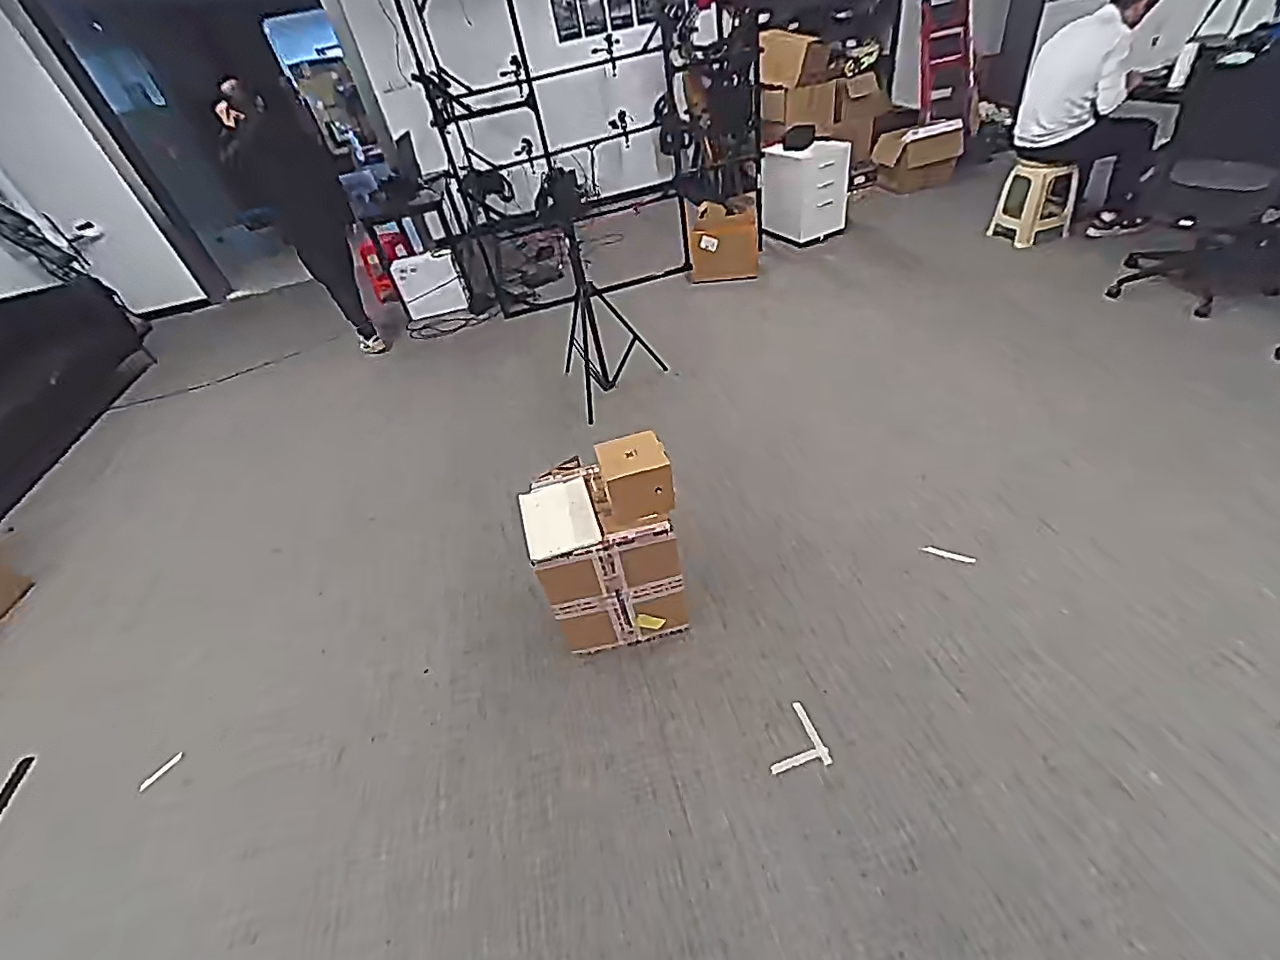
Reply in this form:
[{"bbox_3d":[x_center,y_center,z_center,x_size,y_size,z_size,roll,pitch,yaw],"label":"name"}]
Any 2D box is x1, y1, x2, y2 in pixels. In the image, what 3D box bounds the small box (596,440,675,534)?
[{"bbox_3d":[-0.008,0.021,1.486,0.179,0.176,0.168,-17,42,-6],"label":"small box"}]
